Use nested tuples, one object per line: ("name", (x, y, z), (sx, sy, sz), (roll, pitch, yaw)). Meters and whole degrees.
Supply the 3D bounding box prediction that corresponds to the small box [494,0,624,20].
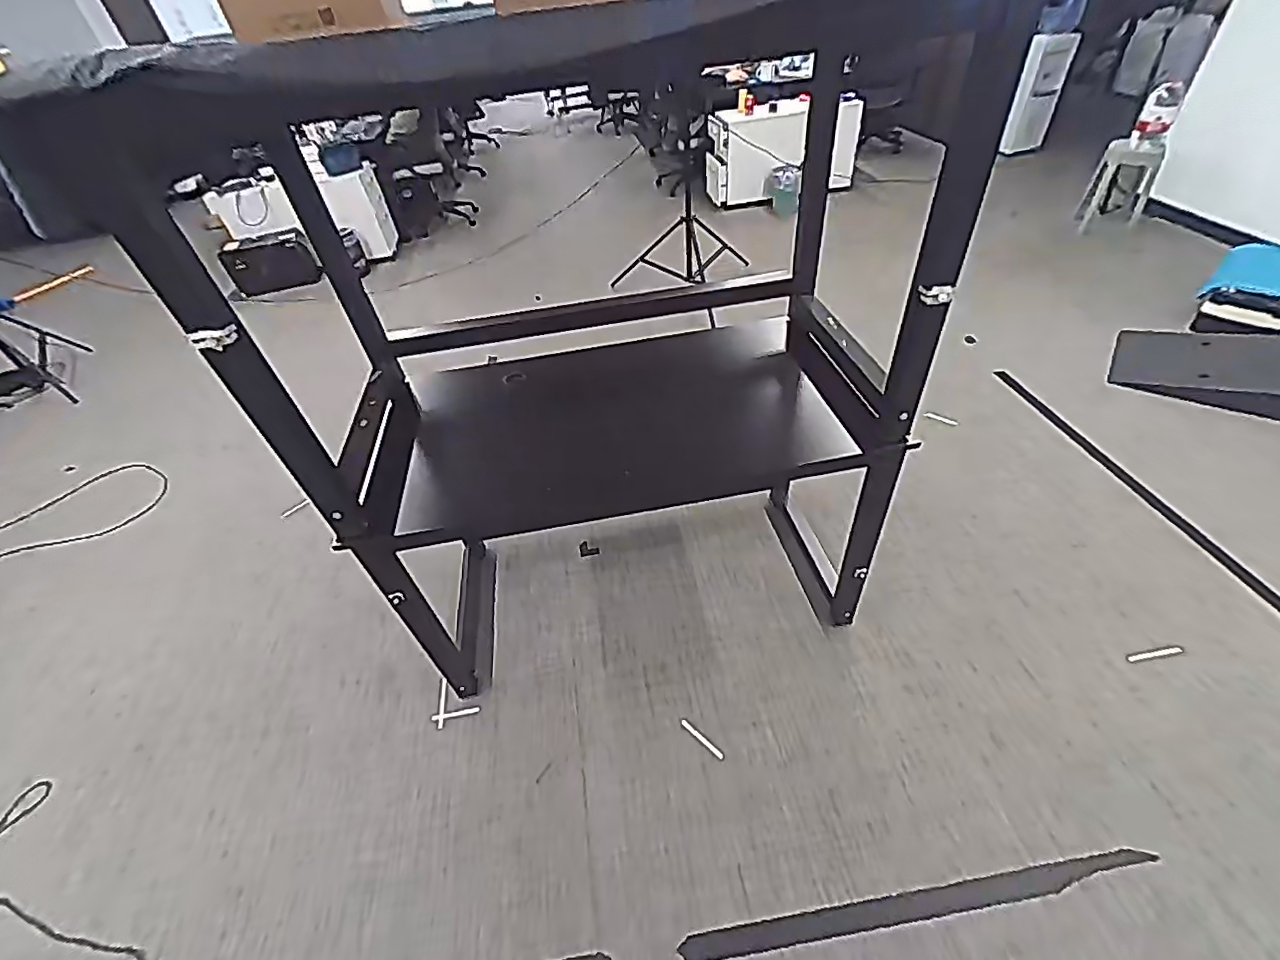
("small box", (-0.103, -0.656, 0.628), (0.168, 0.176, 0.179), (-10, 41, -3))
